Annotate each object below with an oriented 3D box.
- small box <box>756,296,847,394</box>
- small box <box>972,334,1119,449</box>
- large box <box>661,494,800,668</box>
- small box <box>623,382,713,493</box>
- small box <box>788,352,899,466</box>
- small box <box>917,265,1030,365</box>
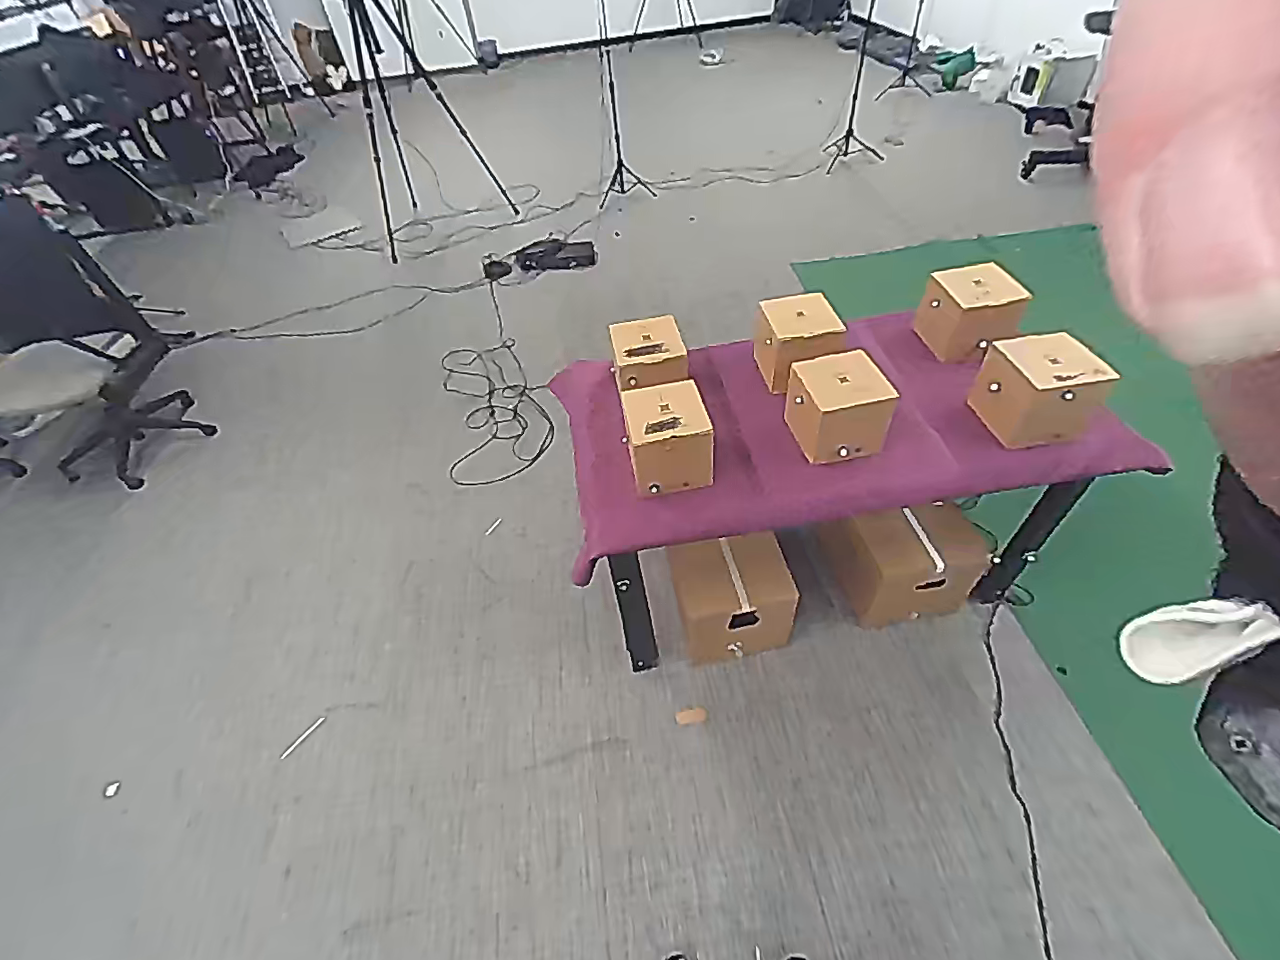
[{"bbox_3d":[0.403,-0.344,1.385,0.168,0.176,0.179,-9,48,-2],"label":"small box"},{"bbox_3d":[0.865,-0.192,1.179,0.168,0.176,0.179,-9,45,2],"label":"small box"},{"bbox_3d":[0.269,0.314,1.699,0.320,0.320,0.408,-11,46,-3],"label":"large box"},{"bbox_3d":[0.064,-0.087,1.190,0.168,0.176,0.179,-10,46,-3],"label":"small box"},{"bbox_3d":[0.441,-0.157,1.207,0.168,0.176,0.179,-11,47,-2],"label":"small box"},{"bbox_3d":[0.844,-0.423,1.391,0.168,0.176,0.179,-10,48,2],"label":"small box"}]
